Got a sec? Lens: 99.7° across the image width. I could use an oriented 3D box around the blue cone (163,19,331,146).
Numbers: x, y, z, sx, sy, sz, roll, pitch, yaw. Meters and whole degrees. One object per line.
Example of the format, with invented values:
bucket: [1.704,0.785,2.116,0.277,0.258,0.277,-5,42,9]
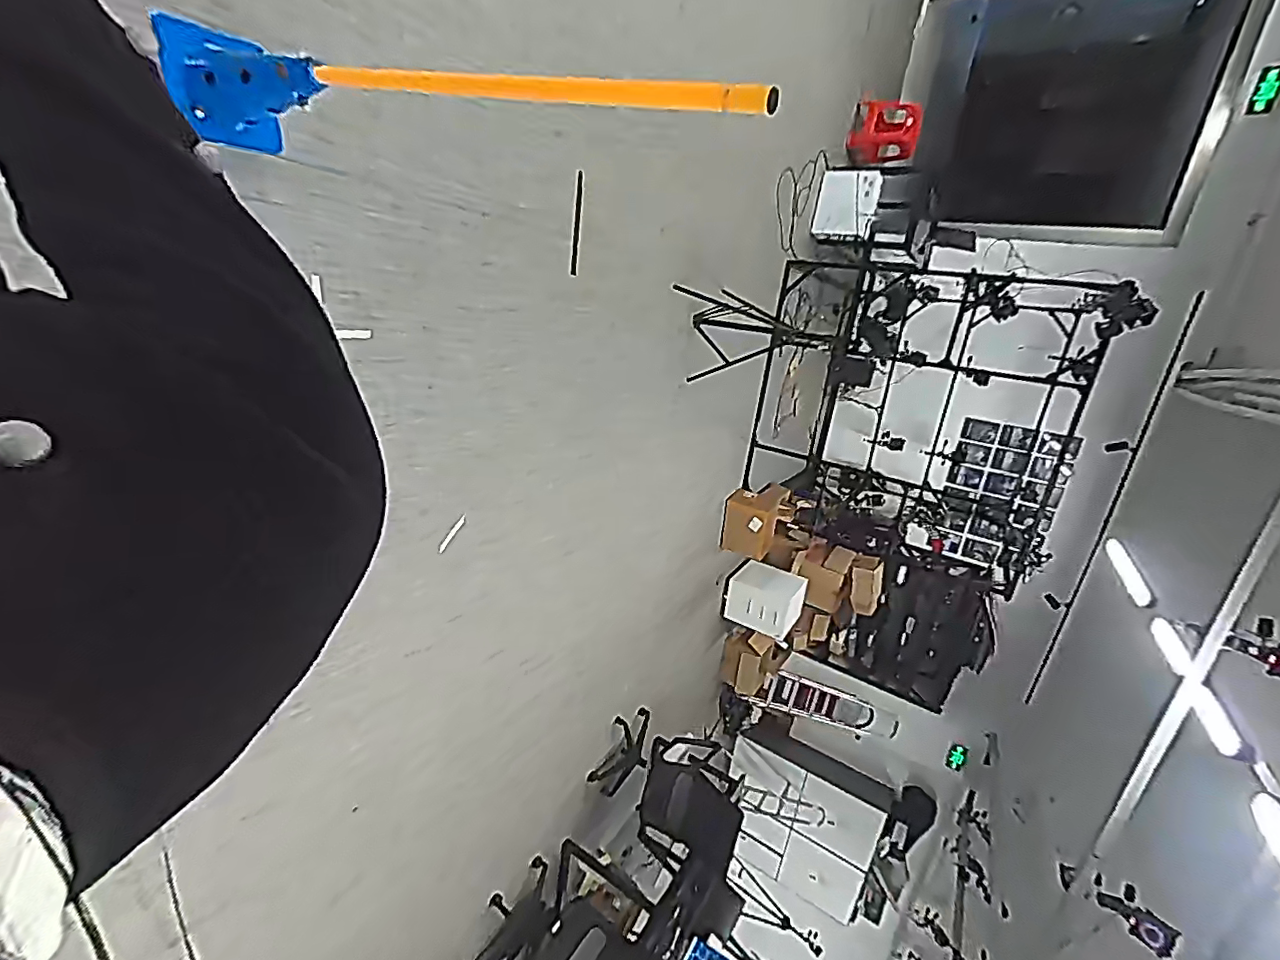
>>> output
blue cone: [-0.707,-0.763,1.028,0.193,0.380,0.192,-25,126,-54]
